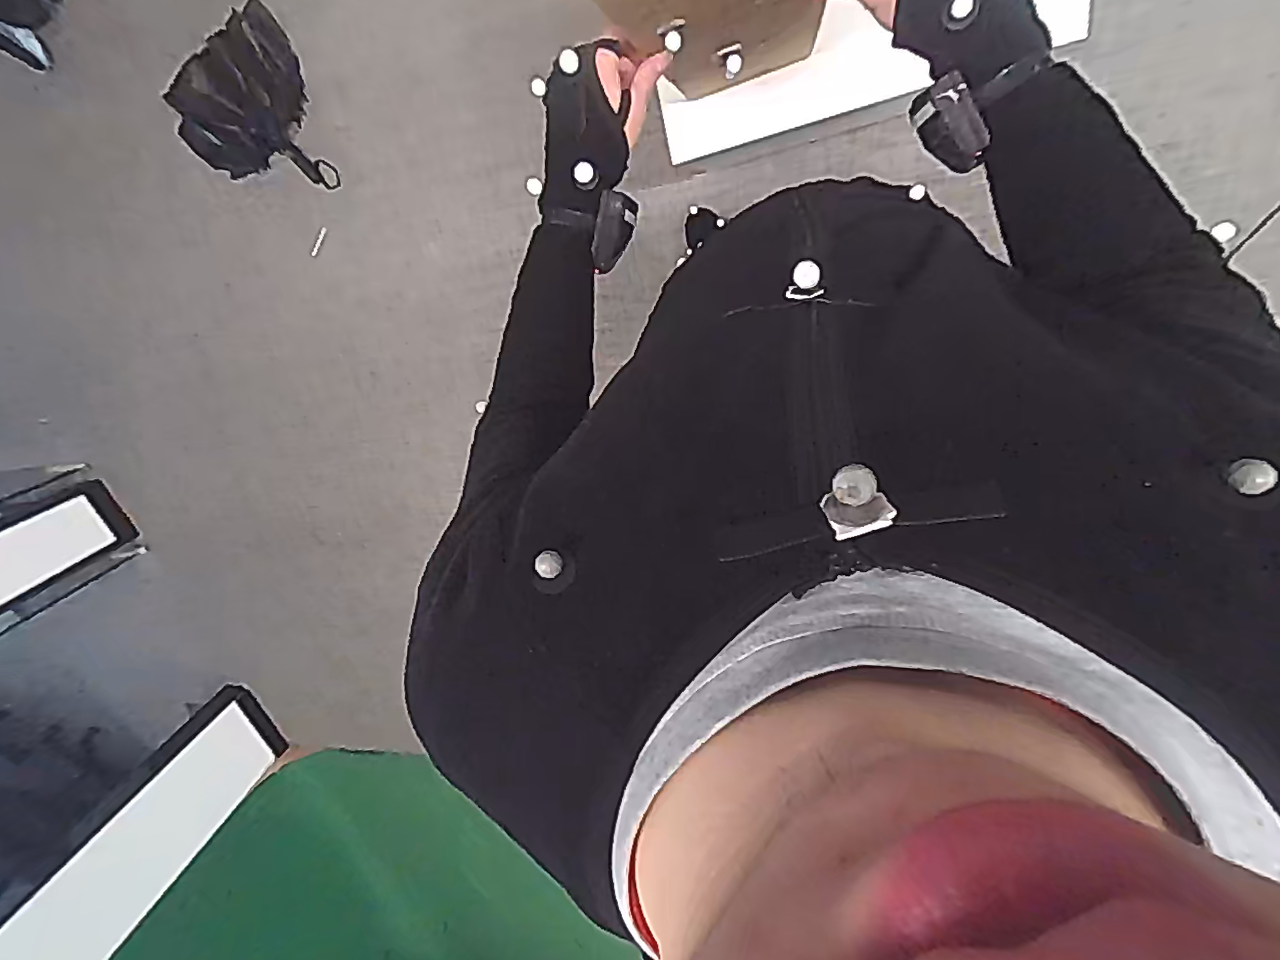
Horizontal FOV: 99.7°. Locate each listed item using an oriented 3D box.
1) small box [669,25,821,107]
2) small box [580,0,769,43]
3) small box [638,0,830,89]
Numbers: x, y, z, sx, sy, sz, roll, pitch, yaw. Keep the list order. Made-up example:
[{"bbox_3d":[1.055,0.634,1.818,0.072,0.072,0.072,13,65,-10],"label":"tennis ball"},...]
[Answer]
[{"bbox_3d":[0.107,-0.564,0.620,0.168,0.176,0.179,-8,114,18],"label":"small box"},{"bbox_3d":[0.034,-0.414,0.338,0.168,0.176,0.179,-9,112,19],"label":"small box"},{"bbox_3d":[0.071,-0.489,0.481,0.168,0.176,0.179,-10,114,20],"label":"small box"}]
